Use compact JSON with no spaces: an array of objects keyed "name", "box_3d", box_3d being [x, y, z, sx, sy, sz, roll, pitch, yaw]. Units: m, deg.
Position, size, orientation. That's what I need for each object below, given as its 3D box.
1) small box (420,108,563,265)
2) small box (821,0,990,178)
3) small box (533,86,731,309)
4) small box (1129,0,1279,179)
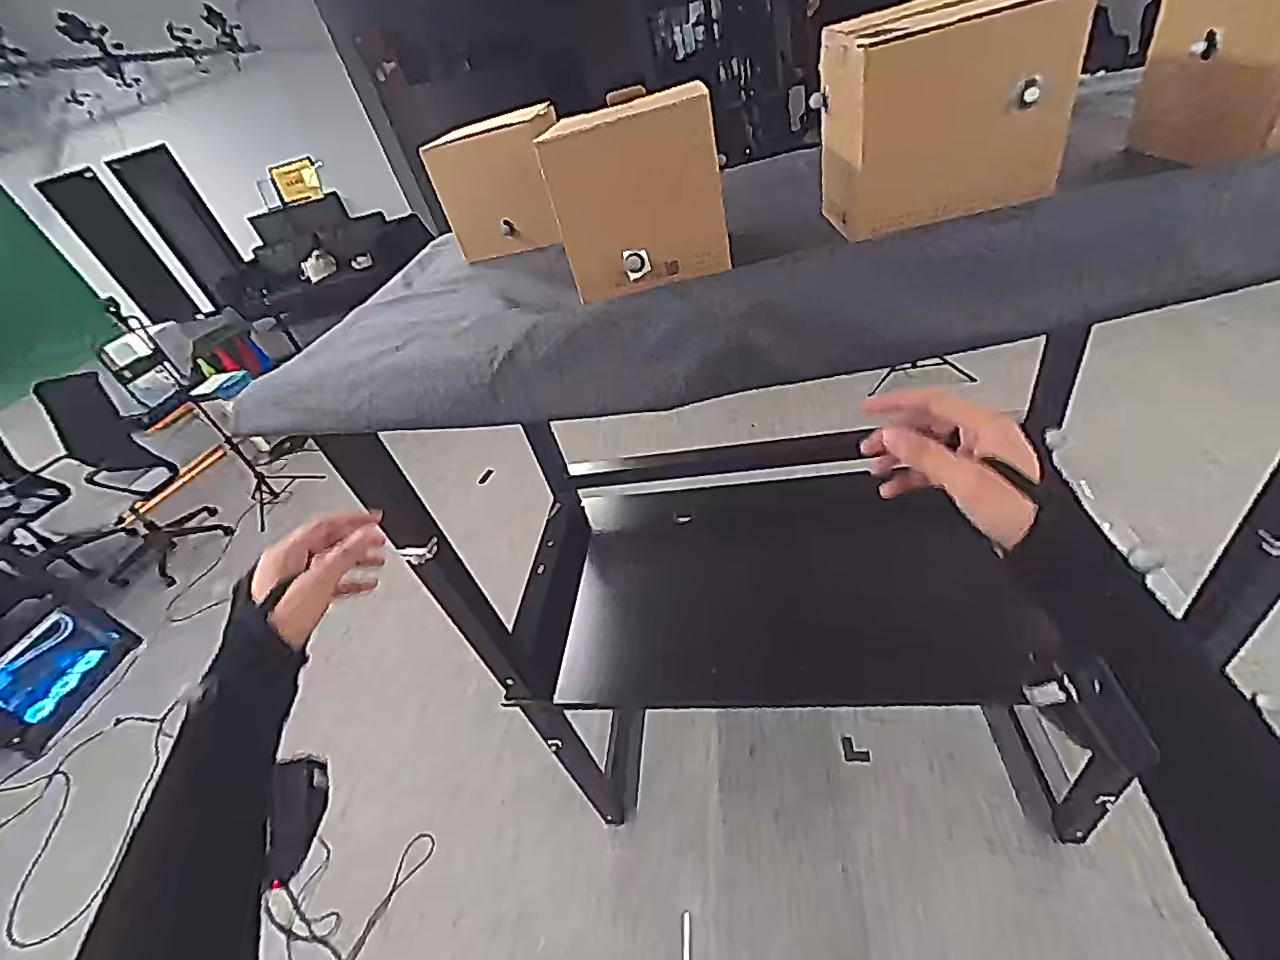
[{"name":"small box","box_3d":[-0.209,-0.466,0.864,0.179,0.176,0.168,-7,39,11]},{"name":"small box","box_3d":[0.352,-0.538,0.747,0.168,0.176,0.179,-7,39,12]},{"name":"small box","box_3d":[0.002,-0.308,0.594,0.168,0.176,0.179,-10,37,10]},{"name":"small box","box_3d":[0.580,-0.375,0.459,0.168,0.176,0.179,-9,38,11]}]
